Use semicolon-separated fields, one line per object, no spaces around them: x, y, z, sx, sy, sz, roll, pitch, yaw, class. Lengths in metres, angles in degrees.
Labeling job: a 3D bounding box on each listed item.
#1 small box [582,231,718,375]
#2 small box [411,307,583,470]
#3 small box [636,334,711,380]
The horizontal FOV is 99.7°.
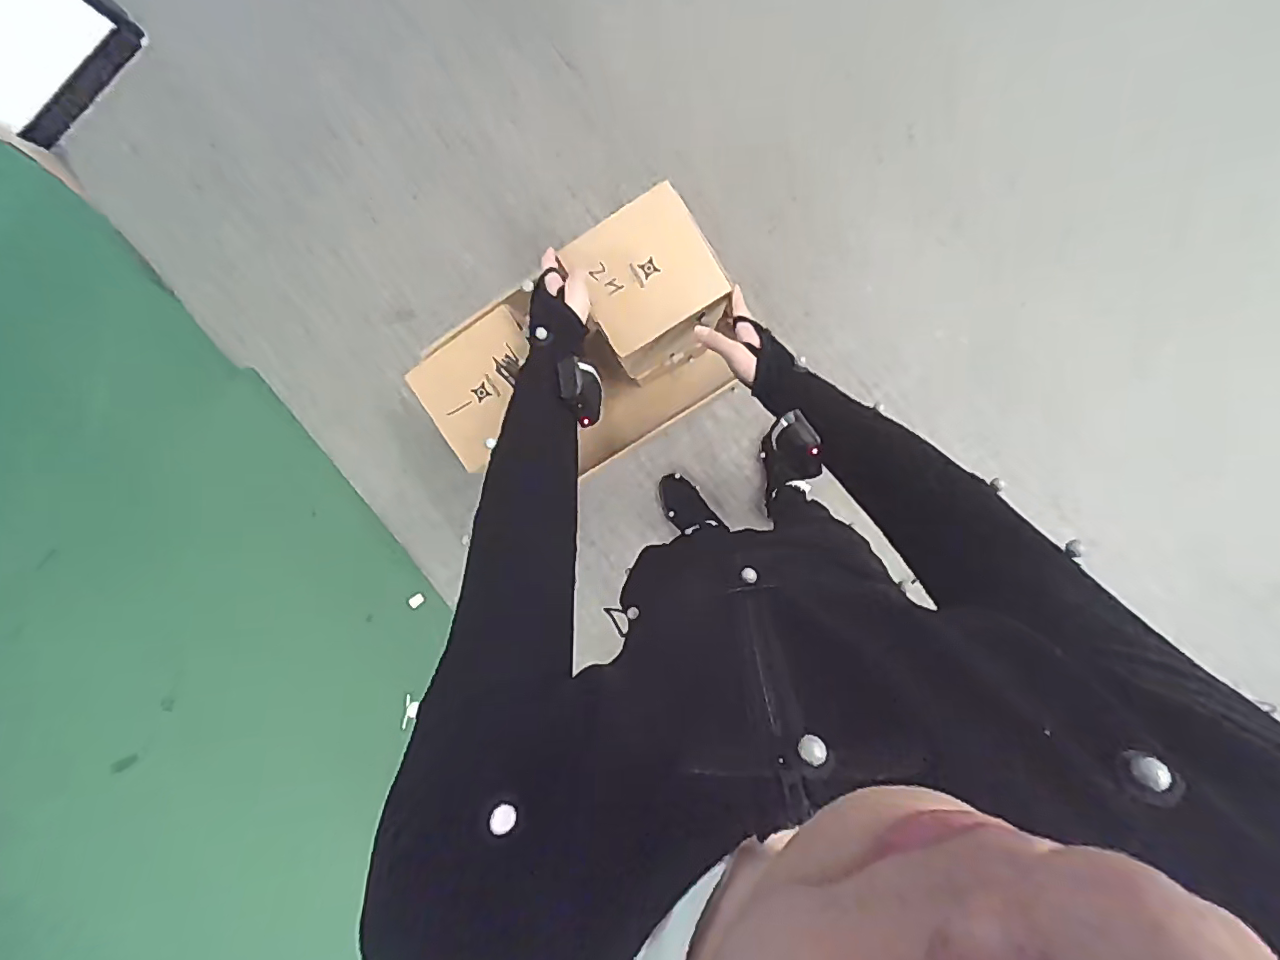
0.021;-0.302;0.961;0.179;0.176;0.168;-28;92;7;small box
-0.203;-0.134;0.831;0.179;0.176;0.168;-33;91;7;small box
0.037;-0.318;1.121;0.168;0.176;0.179;-27;92;6;small box
